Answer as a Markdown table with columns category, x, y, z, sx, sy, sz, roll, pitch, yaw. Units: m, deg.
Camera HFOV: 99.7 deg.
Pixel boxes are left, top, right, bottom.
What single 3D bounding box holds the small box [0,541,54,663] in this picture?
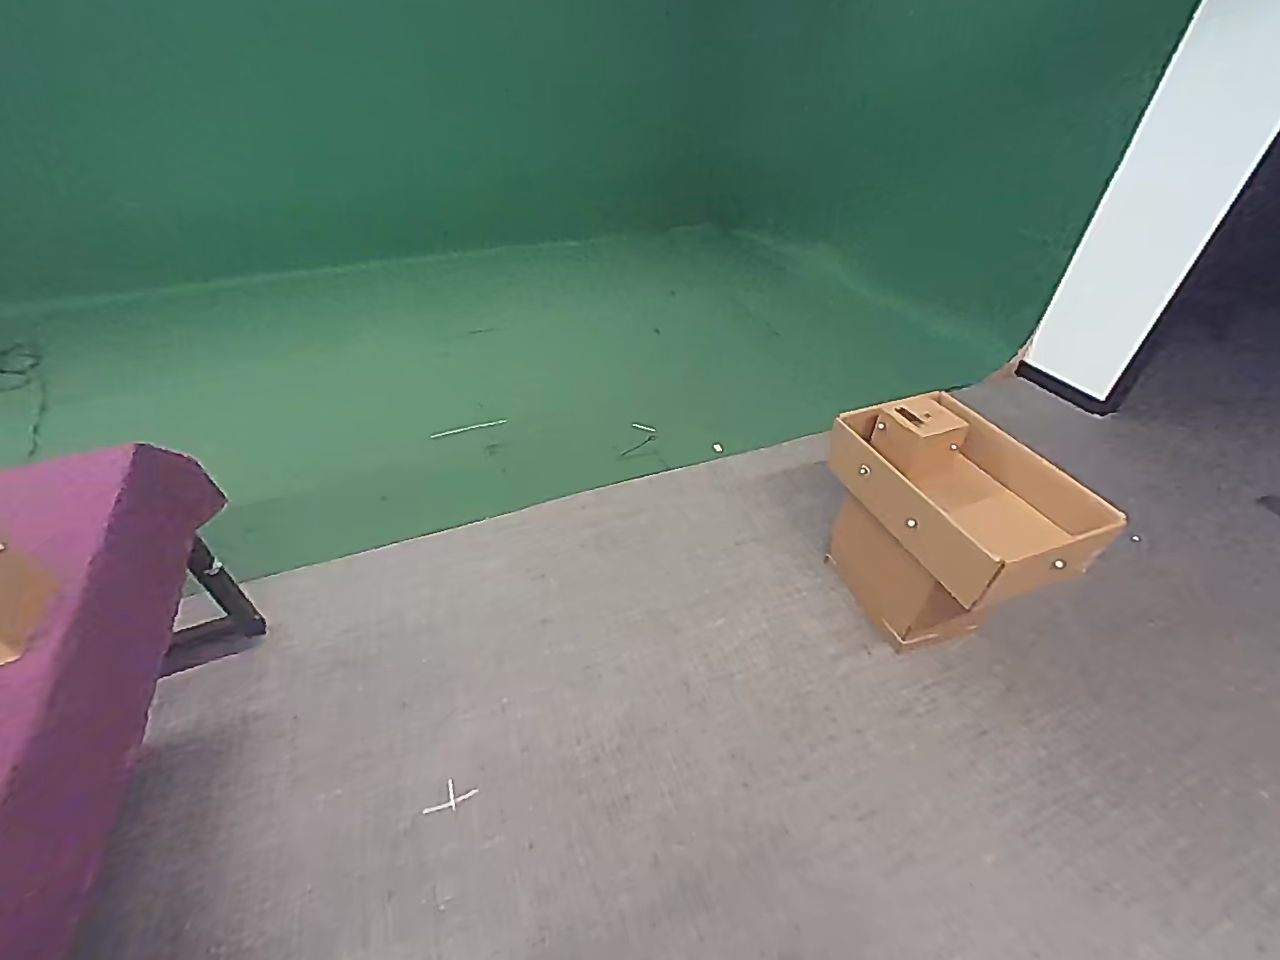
| category | x | y | z | sx | sy | sz | roll | pitch | yaw |
| --- | --- | --- | --- | --- | --- | --- | --- | --- | --- |
| small box | -1.116 | 0.202 | 0.865 | 0.168 | 0.176 | 0.179 | -17 | 43 | -17 |
